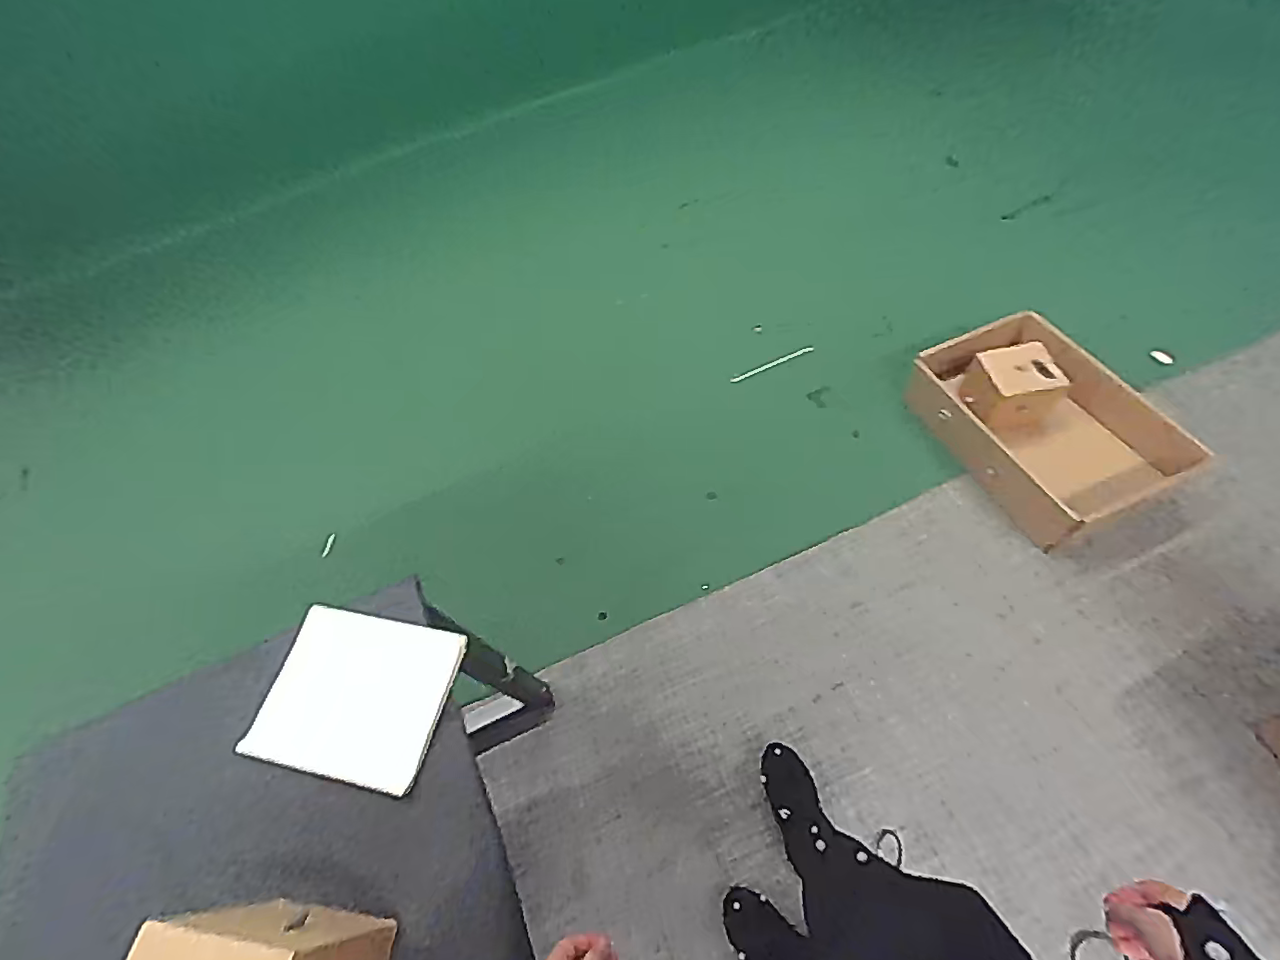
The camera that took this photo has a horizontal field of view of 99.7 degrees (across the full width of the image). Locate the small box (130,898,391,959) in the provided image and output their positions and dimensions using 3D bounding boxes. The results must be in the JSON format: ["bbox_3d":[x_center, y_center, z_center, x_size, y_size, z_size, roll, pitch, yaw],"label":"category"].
[{"bbox_3d":[-0.365,0.517,0.505,0.168,0.176,0.179,0,60,11],"label":"small box"}]

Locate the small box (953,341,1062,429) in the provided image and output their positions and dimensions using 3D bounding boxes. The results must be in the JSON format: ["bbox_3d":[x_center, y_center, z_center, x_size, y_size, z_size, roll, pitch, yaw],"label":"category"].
[{"bbox_3d":[1.044,-0.269,1.553,0.179,0.176,0.168,-10,58,3],"label":"small box"}]
